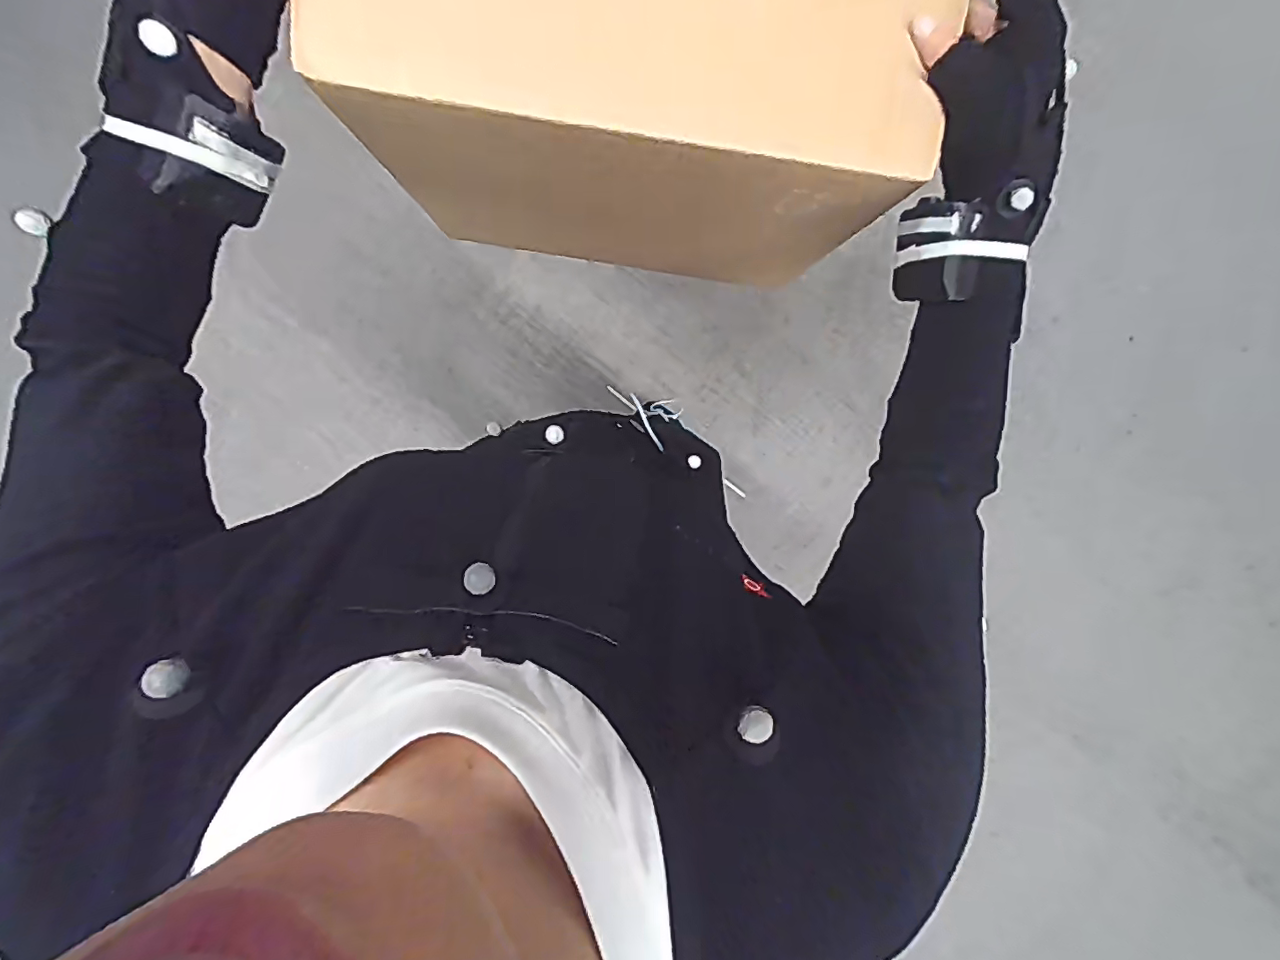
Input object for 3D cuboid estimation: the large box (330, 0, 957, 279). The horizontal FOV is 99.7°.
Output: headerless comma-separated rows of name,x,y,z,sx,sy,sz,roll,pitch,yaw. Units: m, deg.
large box,0.005,-0.394,0.483,0.408,0.320,0.320,6,97,-6
